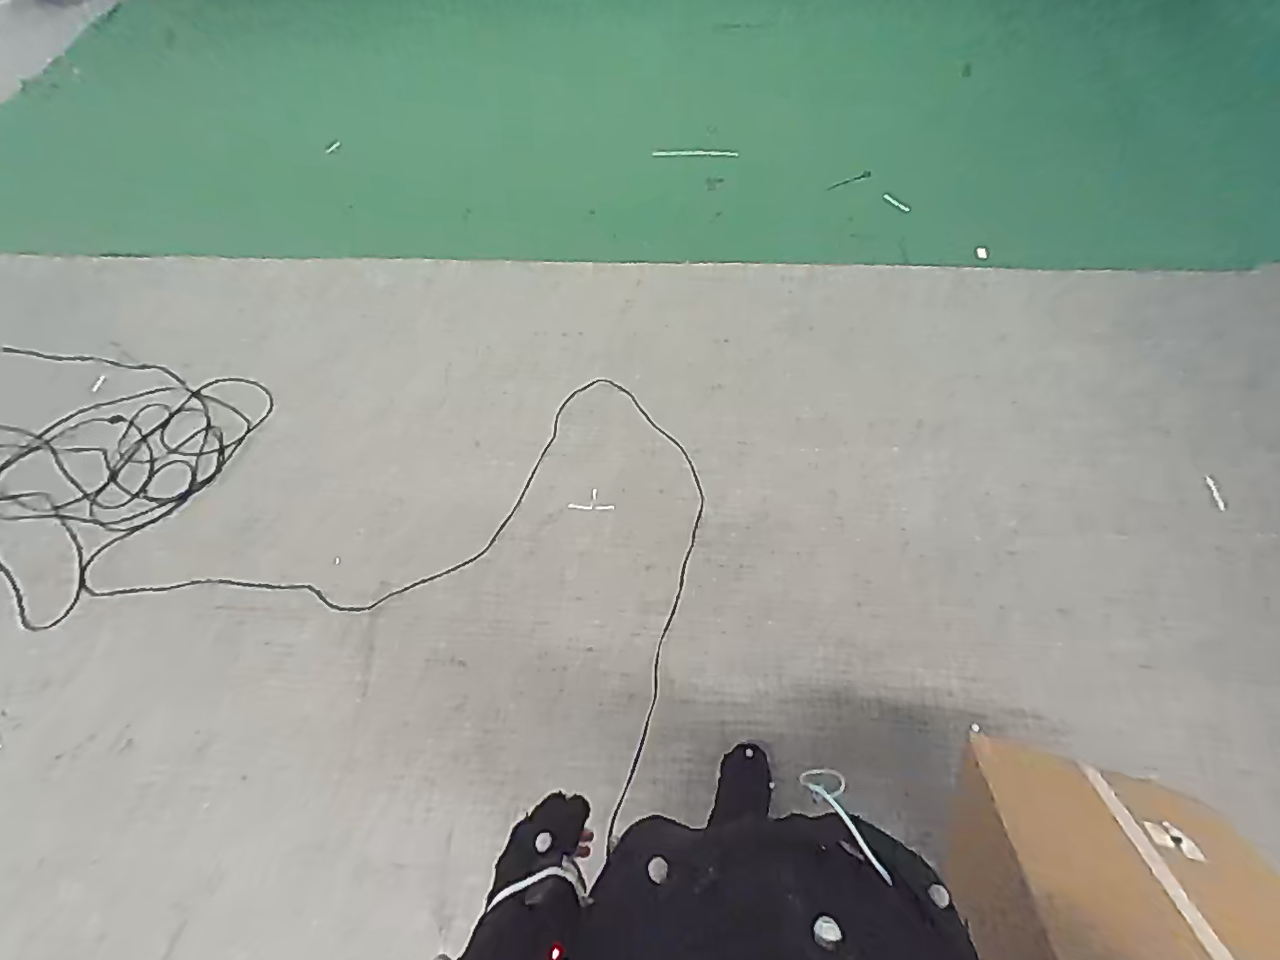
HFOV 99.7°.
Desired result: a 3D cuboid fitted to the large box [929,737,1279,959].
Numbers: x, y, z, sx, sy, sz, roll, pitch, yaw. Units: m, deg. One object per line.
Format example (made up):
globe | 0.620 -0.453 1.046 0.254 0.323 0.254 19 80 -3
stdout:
large box | 0.576 0.603 0.654 0.320 0.408 0.320 12 100 18
